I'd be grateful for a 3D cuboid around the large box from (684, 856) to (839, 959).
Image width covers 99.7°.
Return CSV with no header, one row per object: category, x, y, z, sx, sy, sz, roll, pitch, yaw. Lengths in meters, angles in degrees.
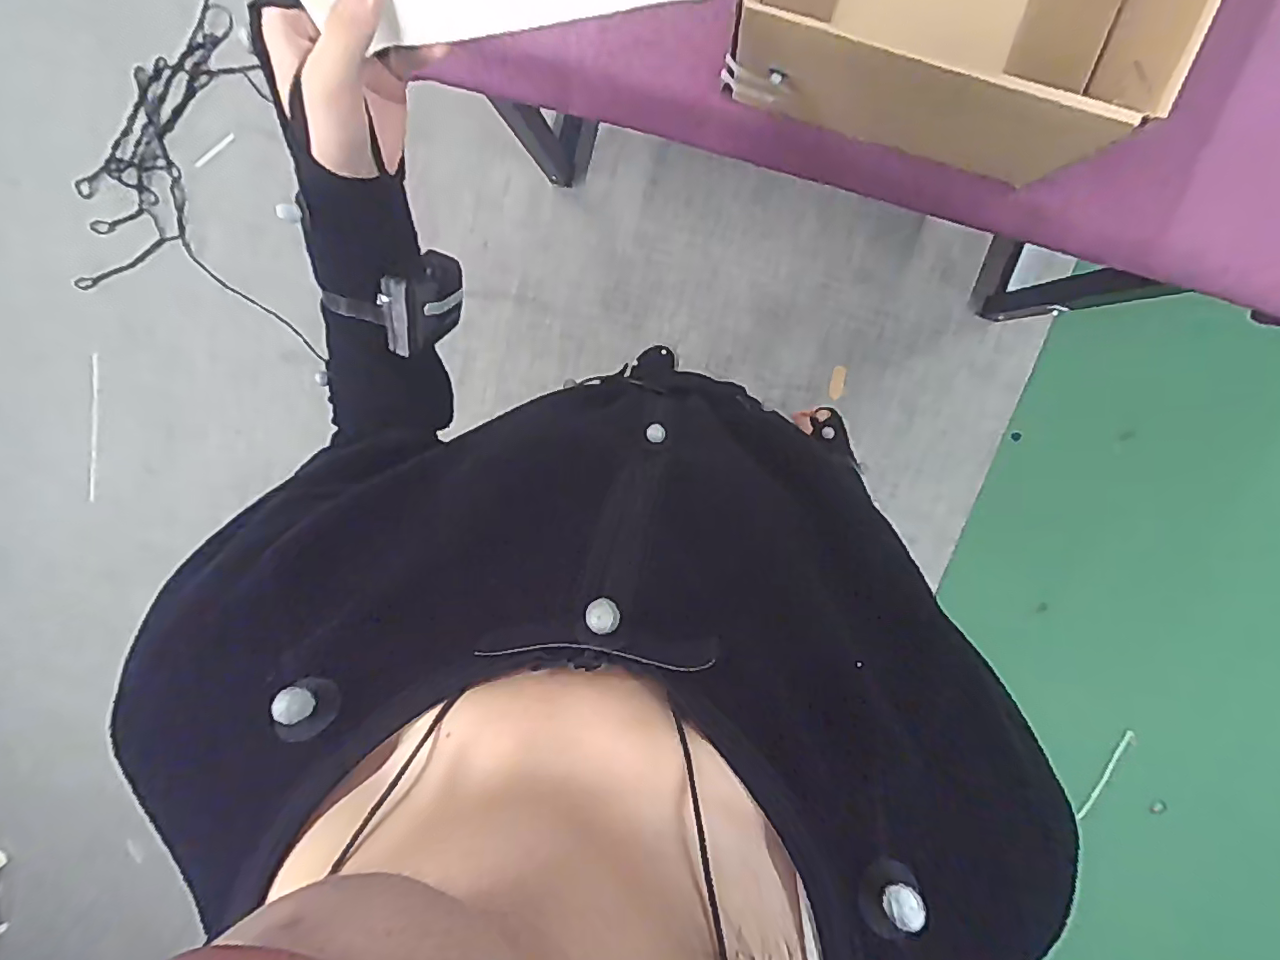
large box,0.338,1.390,1.615,0.408,0.320,0.320,2,102,3
